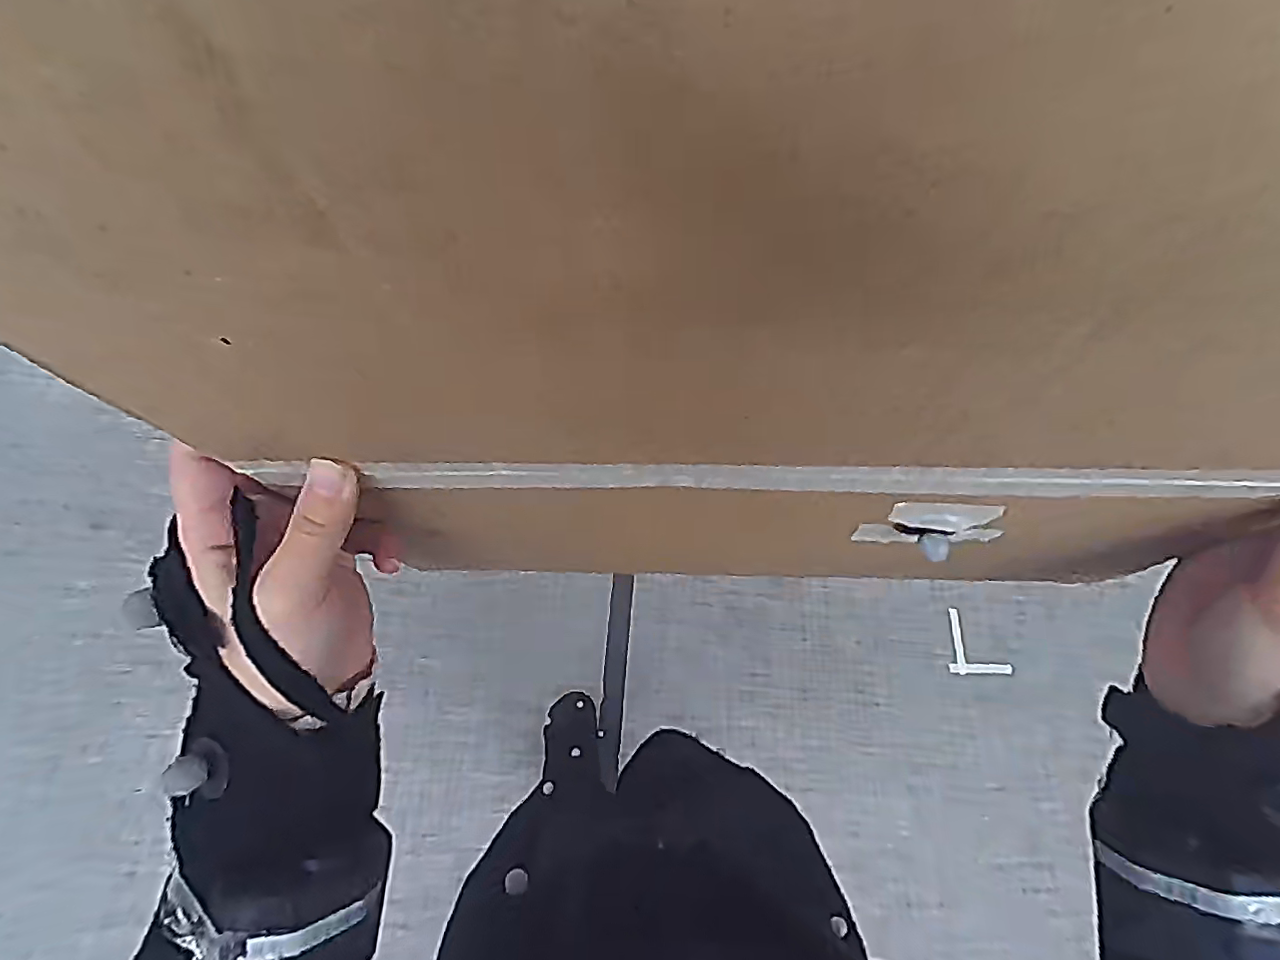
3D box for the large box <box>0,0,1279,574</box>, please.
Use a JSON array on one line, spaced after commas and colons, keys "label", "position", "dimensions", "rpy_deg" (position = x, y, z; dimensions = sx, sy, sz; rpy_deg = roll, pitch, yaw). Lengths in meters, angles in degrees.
[{"label": "large box", "position": [0.048, -0.143, 0.257], "dimensions": [0.408, 0.320, 0.320], "rpy_deg": [-1, 67, 4]}]
